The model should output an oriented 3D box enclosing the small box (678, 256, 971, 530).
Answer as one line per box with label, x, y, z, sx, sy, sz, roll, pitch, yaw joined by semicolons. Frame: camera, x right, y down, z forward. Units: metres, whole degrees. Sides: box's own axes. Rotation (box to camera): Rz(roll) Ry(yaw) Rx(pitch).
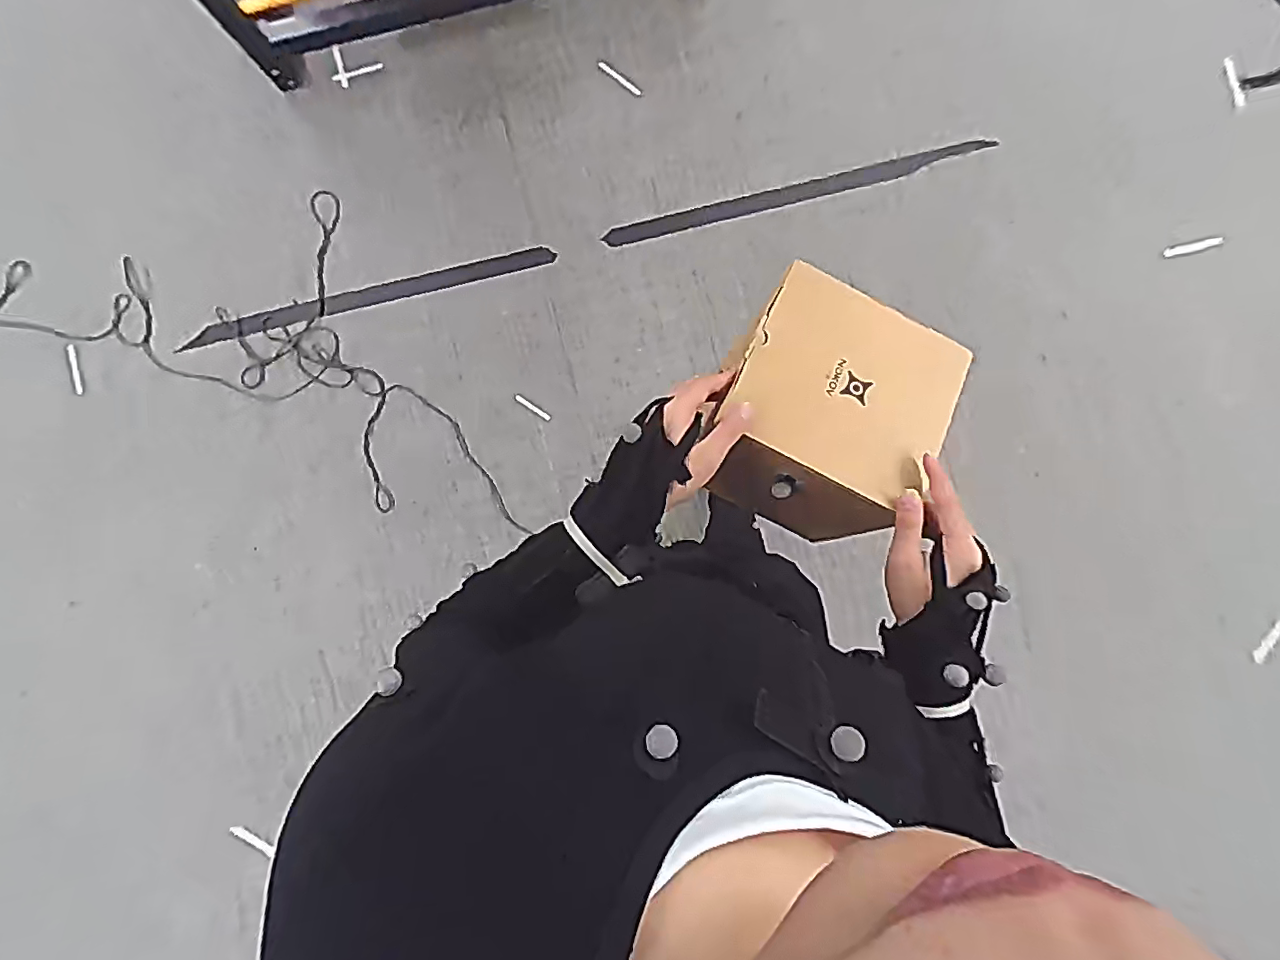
small box;0.156;-0.063;0.507;0.179;0.176;0.168;26;76;-1
